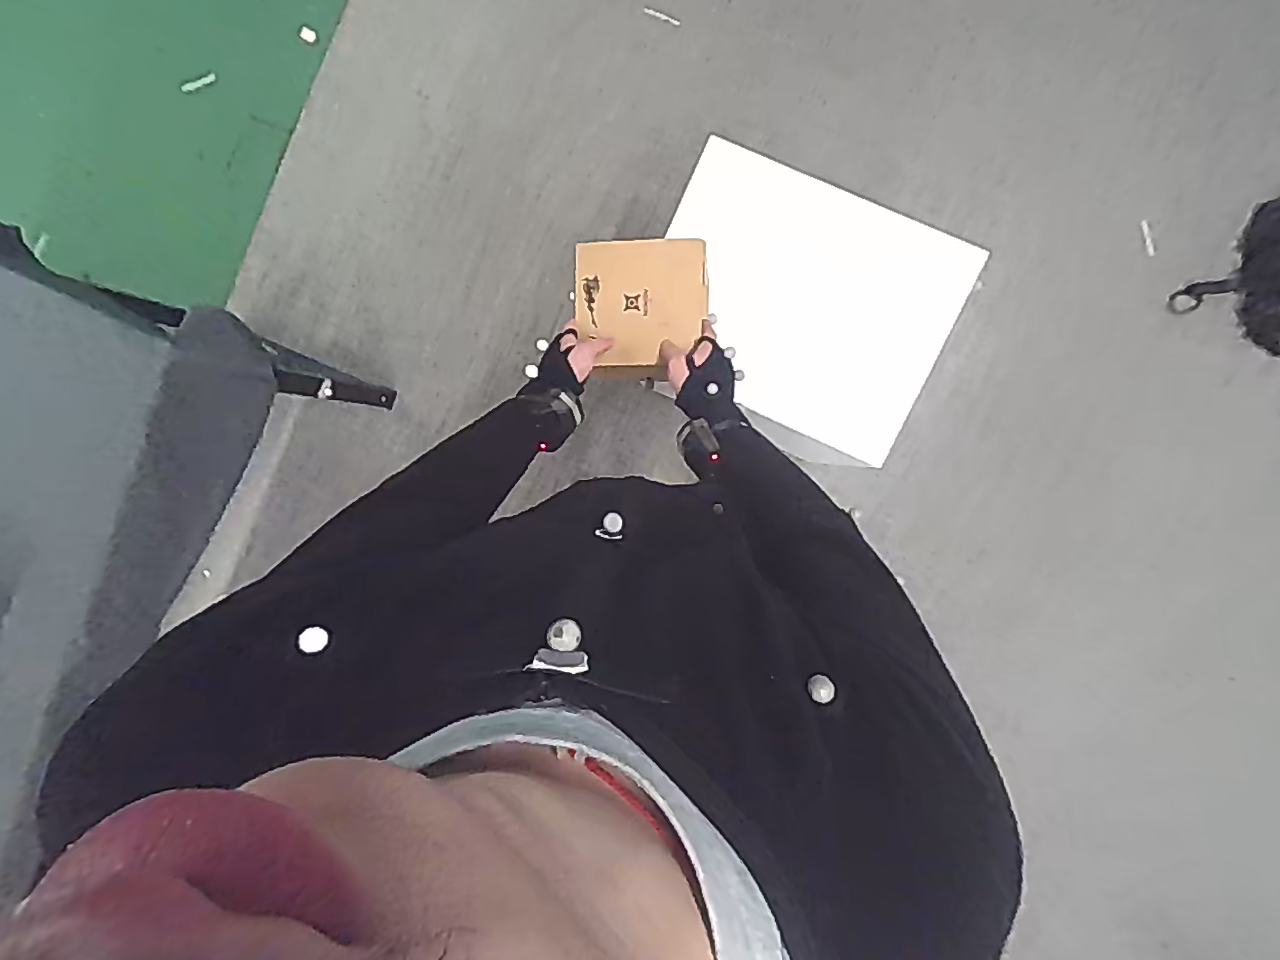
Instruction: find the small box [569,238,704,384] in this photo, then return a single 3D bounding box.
[{"bbox_3d":[0.000,-0.232,0.777,0.179,0.176,0.168,0,93,5],"label":"small box"}]
